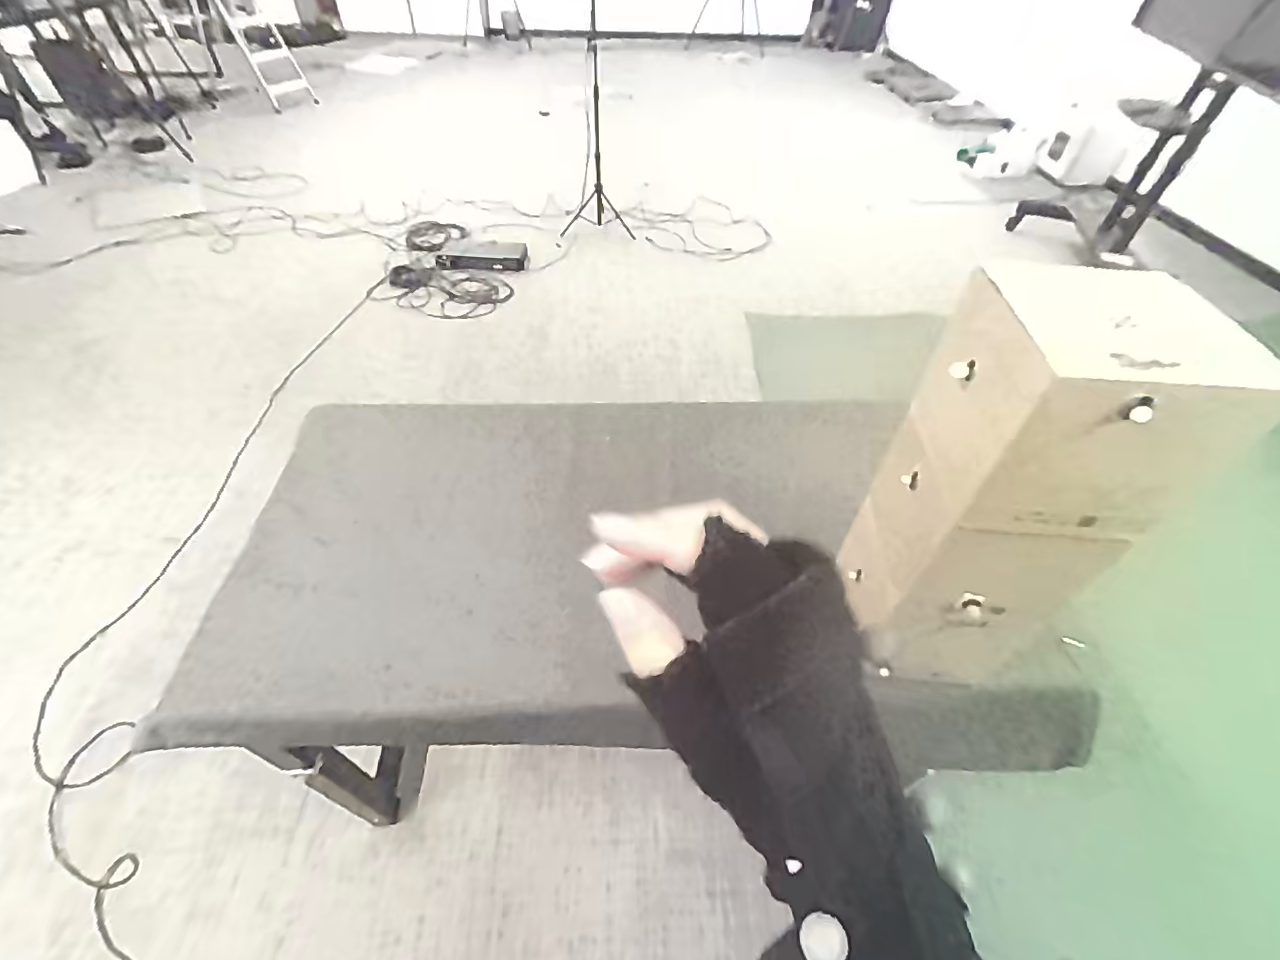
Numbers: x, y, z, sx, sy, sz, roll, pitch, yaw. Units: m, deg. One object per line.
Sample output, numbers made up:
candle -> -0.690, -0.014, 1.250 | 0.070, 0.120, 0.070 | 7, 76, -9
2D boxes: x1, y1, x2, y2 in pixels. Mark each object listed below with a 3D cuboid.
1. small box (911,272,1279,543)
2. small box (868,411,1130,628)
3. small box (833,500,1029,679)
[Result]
small box -> 0.373, -0.067, 0.492 | 0.168, 0.176, 0.179 | 5, 46, 4
small box -> 0.376, 0.043, 0.614 | 0.168, 0.176, 0.179 | 4, 48, 4
small box -> 0.375, 0.151, 0.734 | 0.168, 0.176, 0.179 | 5, 46, 3
